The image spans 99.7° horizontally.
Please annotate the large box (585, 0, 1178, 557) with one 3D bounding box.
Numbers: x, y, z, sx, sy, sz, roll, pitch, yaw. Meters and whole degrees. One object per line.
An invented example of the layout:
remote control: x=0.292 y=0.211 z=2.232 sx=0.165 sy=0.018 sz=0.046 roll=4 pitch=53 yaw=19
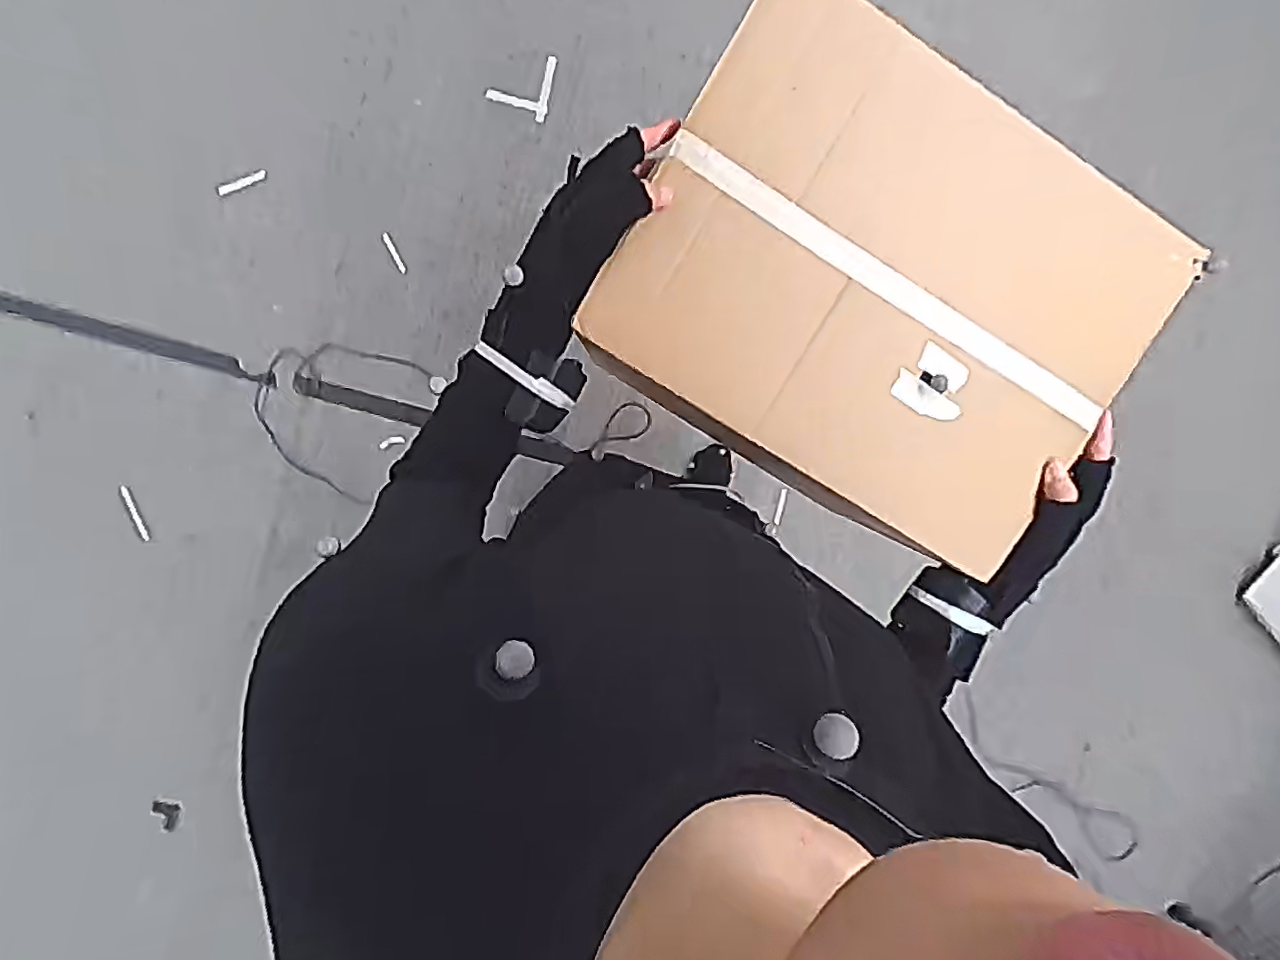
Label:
large box: x=0.190 y=-0.177 z=0.583 sx=0.408 sy=0.320 sz=0.320 roll=31 pitch=96 yaw=-7
